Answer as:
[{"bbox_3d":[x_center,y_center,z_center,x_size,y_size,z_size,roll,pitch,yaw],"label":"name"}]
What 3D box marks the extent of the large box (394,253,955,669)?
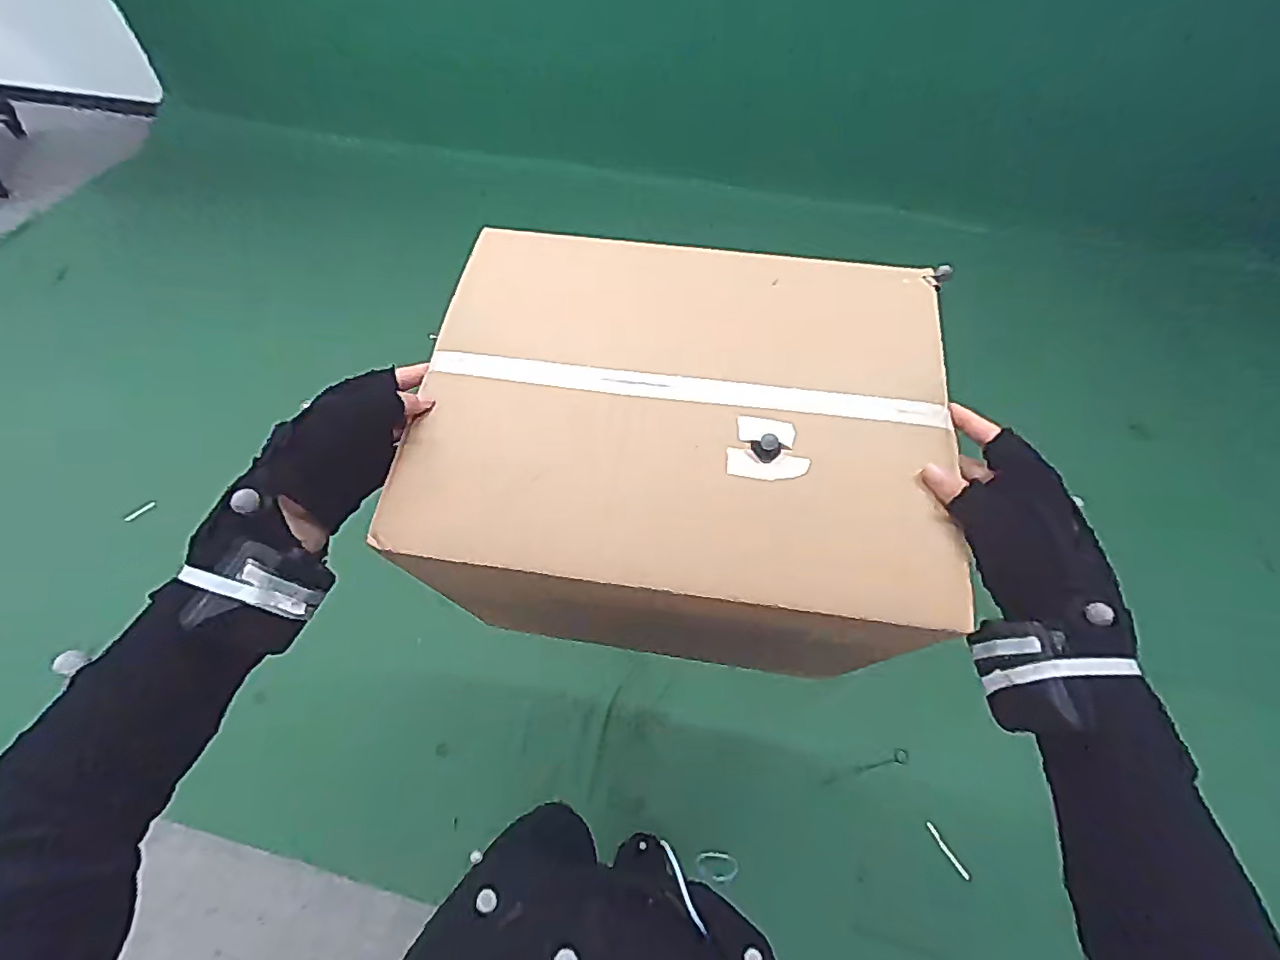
[{"bbox_3d":[0.036,0.001,0.573,0.408,0.320,0.320,6,65,4],"label":"large box"}]
